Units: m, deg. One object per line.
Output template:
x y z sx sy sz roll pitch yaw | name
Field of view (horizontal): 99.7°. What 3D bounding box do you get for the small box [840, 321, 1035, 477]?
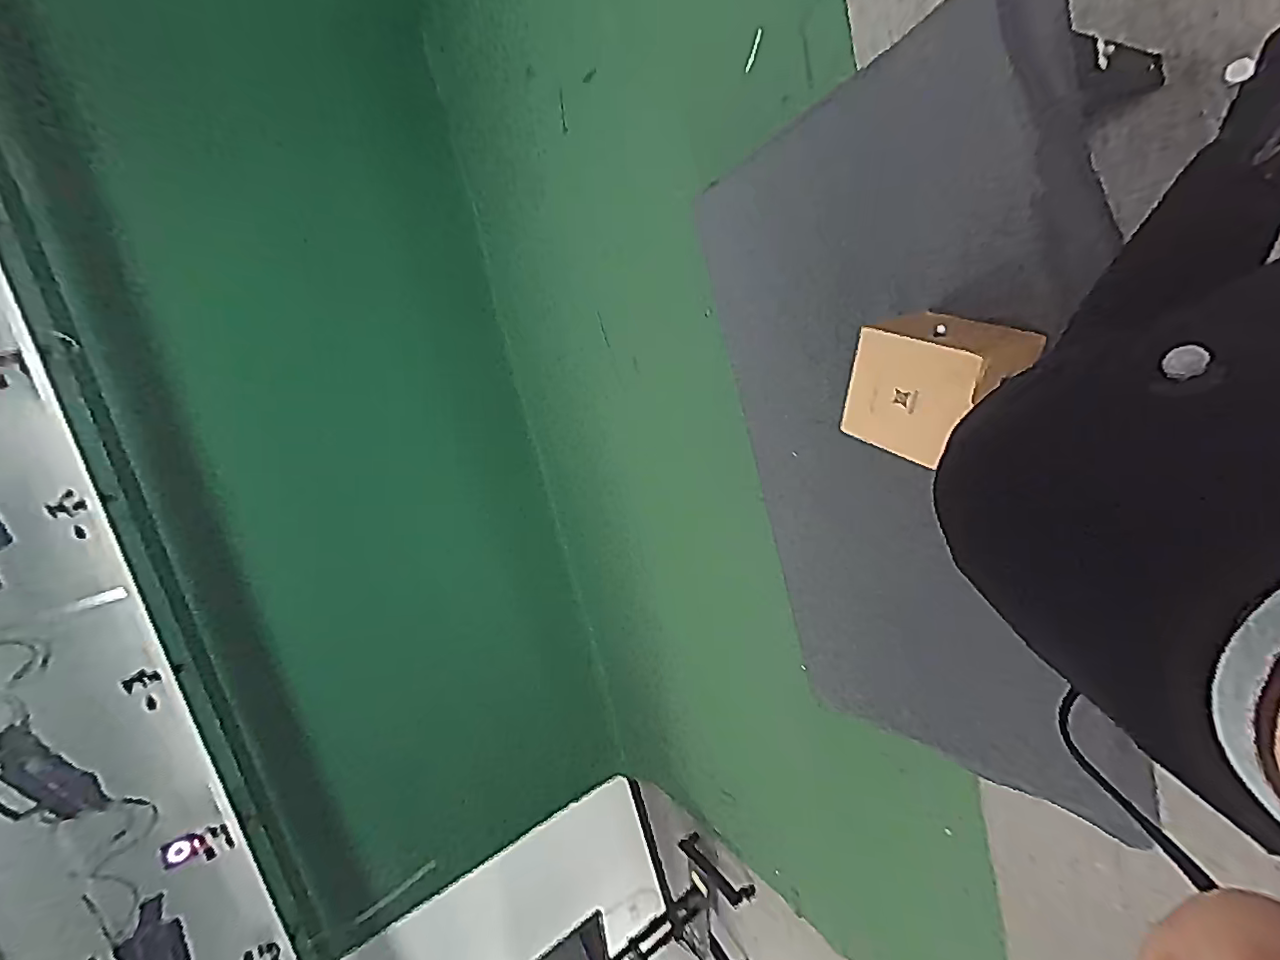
0.430 -0.129 0.791 0.179 0.176 0.168 36 134 46 | small box
